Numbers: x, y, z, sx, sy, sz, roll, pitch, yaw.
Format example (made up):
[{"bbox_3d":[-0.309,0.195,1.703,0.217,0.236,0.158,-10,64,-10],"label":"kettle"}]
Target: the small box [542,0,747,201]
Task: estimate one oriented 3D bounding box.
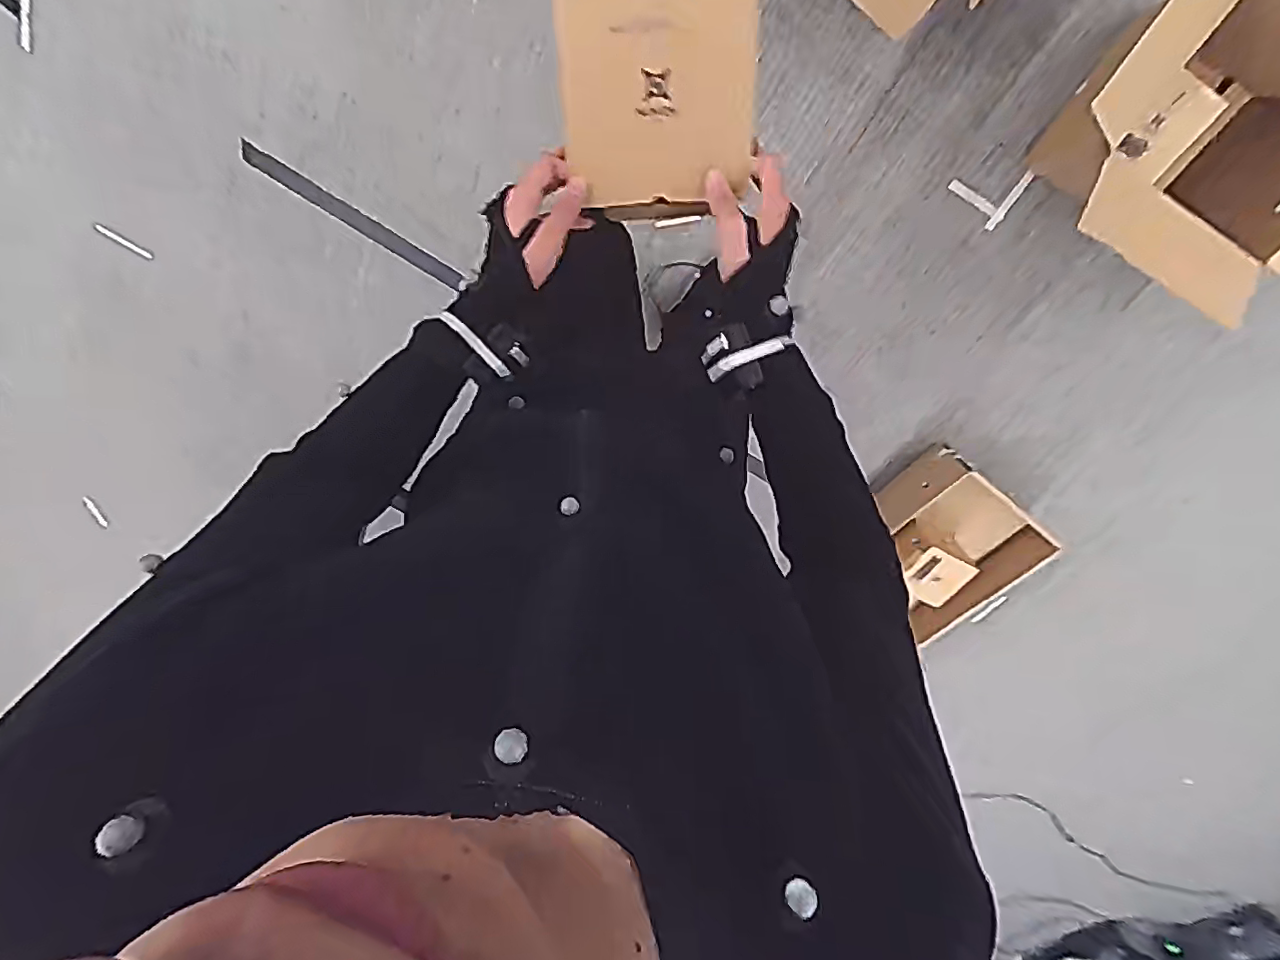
[{"bbox_3d":[0.009,-0.383,0.523,0.168,0.176,0.179,-3,123,3],"label":"small box"}]
